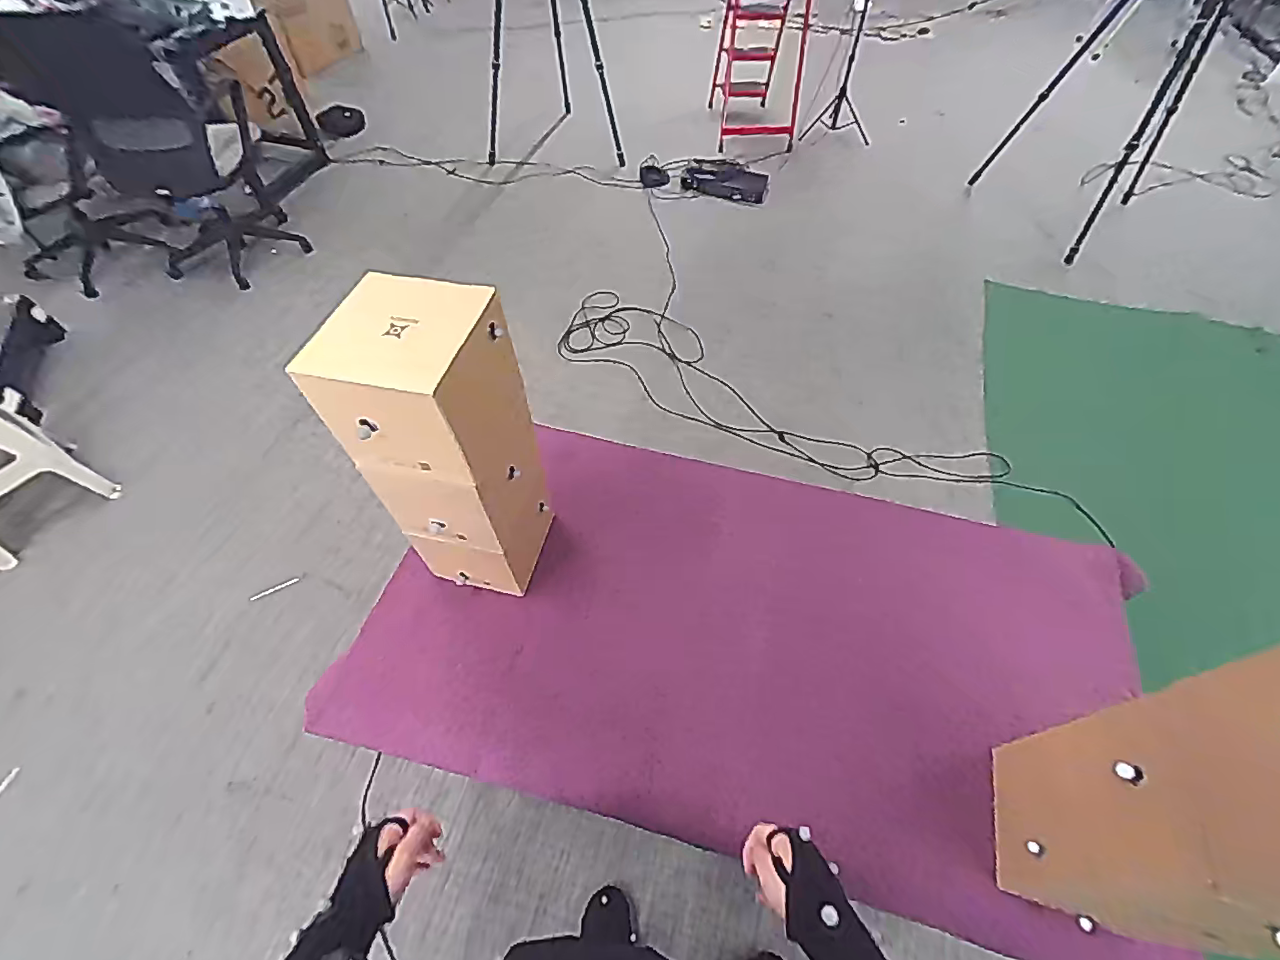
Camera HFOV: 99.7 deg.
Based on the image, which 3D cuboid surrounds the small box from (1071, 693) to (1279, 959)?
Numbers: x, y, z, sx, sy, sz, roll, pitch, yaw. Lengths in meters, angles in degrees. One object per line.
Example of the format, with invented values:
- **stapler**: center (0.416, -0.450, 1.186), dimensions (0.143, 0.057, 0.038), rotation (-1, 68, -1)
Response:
- **small box**: center (0.561, 0.342, 0.526), dimensions (0.168, 0.176, 0.179), rotation (15, 55, 12)

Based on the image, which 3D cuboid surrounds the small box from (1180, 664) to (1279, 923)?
- **small box**: center (0.560, 0.241, 0.395), dimensions (0.168, 0.176, 0.179), rotation (15, 56, 12)

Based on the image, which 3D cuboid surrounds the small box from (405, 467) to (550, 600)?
- **small box**: center (-0.261, 0.078, 0.919), dimensions (0.168, 0.176, 0.179), rotation (11, 56, 8)

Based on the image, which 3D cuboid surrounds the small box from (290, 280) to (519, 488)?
- **small box**: center (-0.261, -0.112, 0.654), dimensions (0.168, 0.176, 0.179), rotation (10, 55, 8)

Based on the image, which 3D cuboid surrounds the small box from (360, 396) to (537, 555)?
- **small box**: center (-0.259, -0.017, 0.786), dimensions (0.168, 0.176, 0.179), rotation (10, 56, 8)
